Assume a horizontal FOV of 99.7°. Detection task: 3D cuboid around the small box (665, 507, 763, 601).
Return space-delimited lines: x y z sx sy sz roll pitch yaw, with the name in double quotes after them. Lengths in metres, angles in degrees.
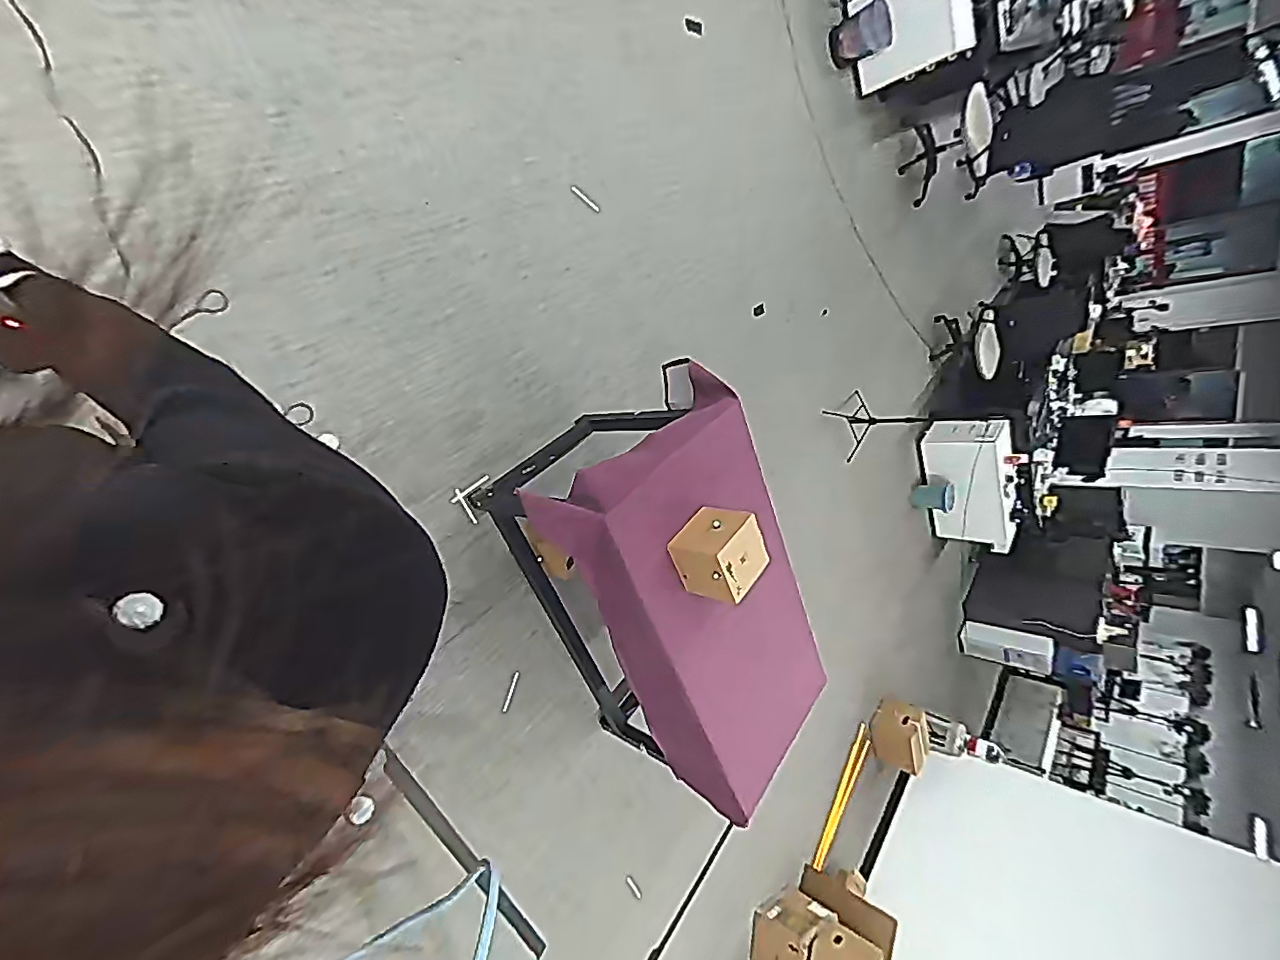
0.195 0.187 1.430 0.179 0.176 0.168 -43 121 -35 "small box"
